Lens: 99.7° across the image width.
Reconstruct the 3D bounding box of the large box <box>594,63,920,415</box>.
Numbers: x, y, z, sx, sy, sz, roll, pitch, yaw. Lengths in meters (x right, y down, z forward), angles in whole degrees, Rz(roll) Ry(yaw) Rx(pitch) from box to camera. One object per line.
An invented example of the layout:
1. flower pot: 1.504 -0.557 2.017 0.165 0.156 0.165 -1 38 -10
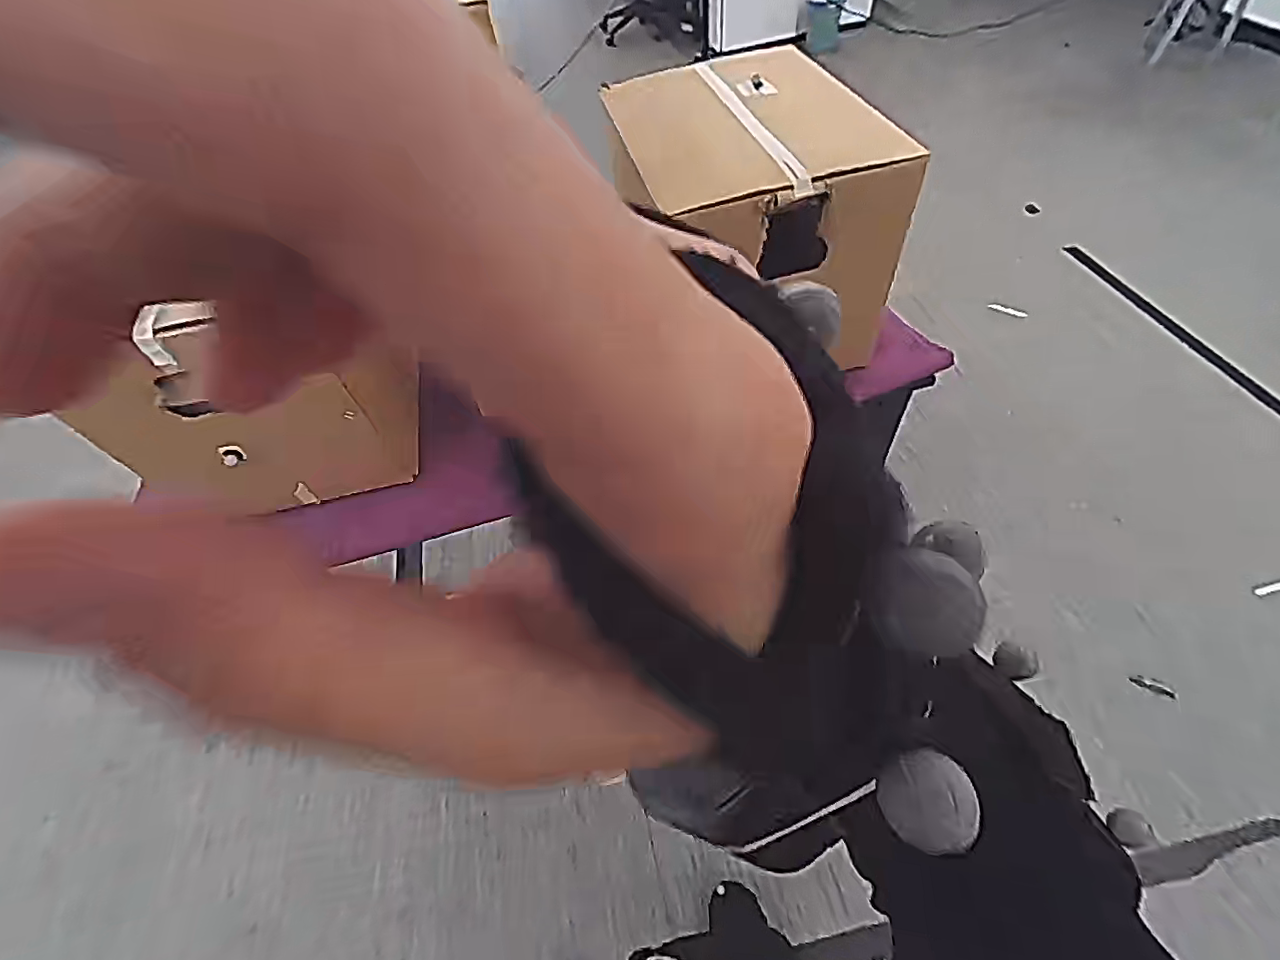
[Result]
1. large box: 0.142 -0.371 0.834 0.320 0.320 0.408 -15 52 -3
